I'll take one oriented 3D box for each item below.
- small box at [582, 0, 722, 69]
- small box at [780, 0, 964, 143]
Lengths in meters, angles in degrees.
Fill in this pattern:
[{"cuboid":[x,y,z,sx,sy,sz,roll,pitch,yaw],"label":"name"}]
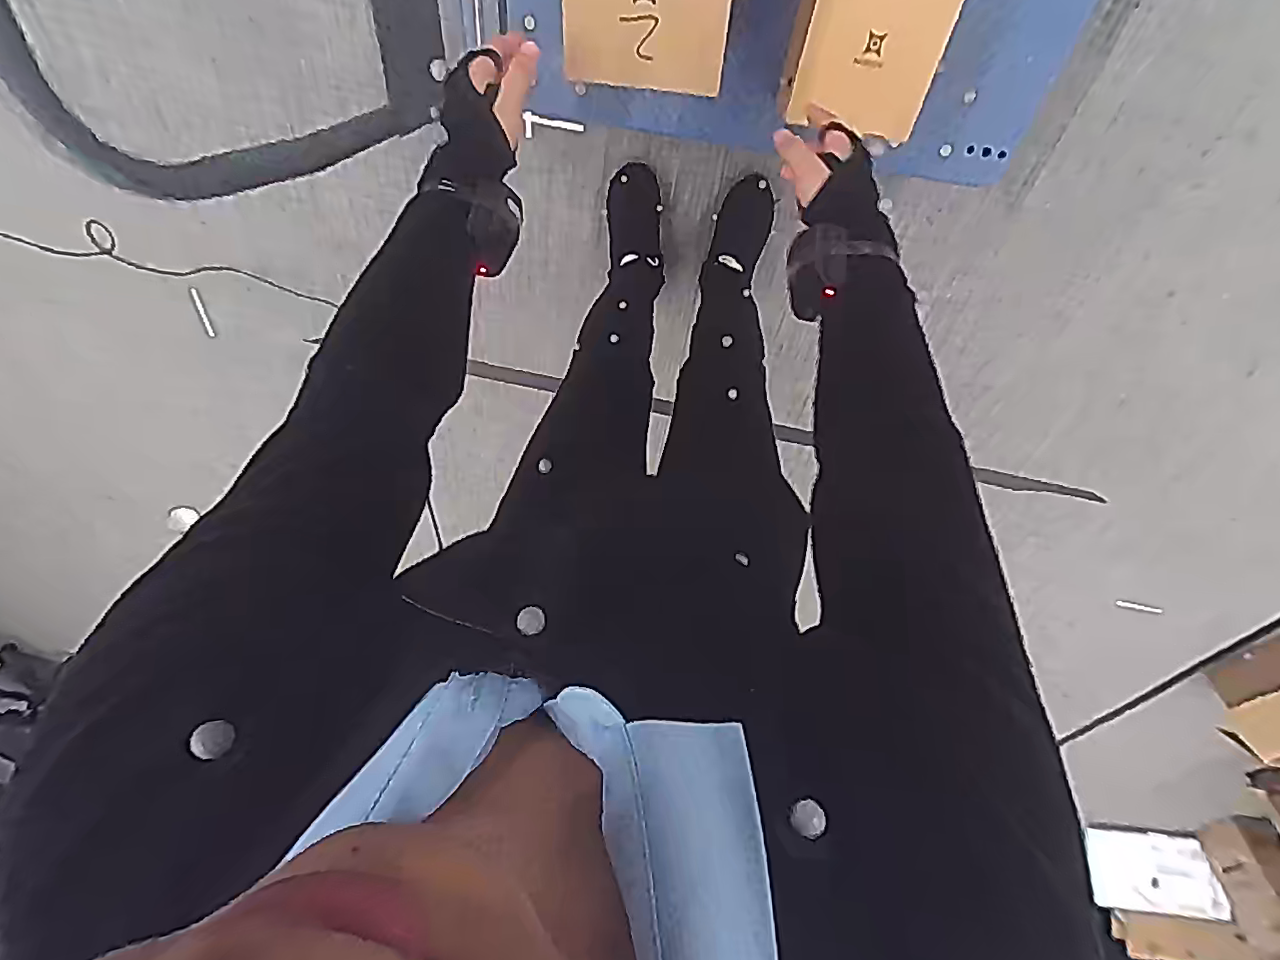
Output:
[{"cuboid":[0.026,-0.643,0.677,0.168,0.176,0.179,9,134,2],"label":"small box"},{"cuboid":[0.287,-0.568,0.704,0.168,0.176,0.179,10,133,0],"label":"small box"}]
